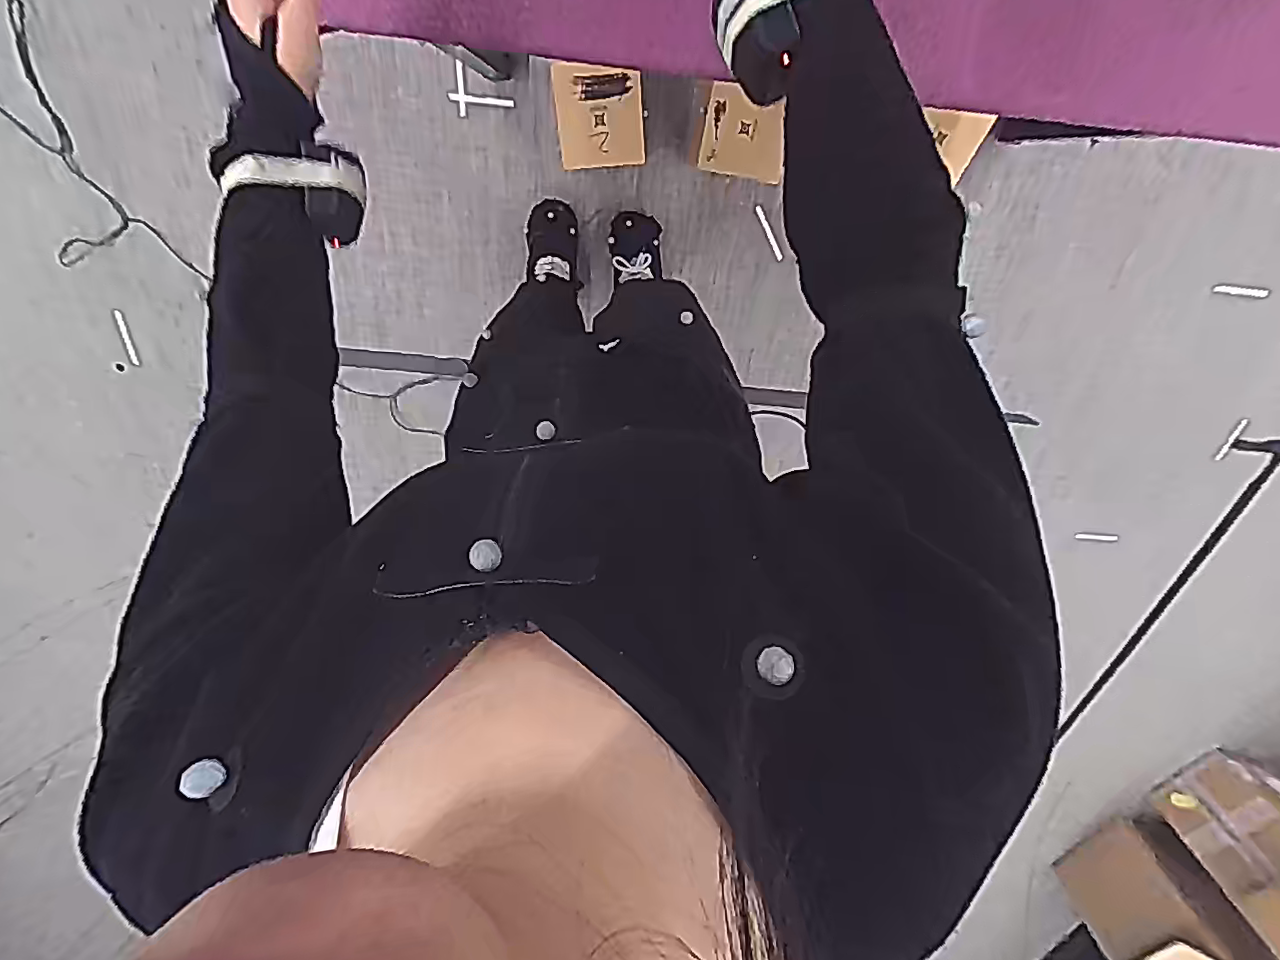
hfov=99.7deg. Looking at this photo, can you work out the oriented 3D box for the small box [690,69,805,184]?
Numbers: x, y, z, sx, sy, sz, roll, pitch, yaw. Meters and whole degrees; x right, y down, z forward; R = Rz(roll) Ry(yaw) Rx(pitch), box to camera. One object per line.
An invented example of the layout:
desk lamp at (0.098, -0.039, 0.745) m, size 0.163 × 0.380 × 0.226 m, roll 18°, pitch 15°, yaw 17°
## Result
small box at (0.212, -0.727, 1.122) m, size 0.179 × 0.176 × 0.168 m, roll 7°, pitch 121°, yaw -7°
